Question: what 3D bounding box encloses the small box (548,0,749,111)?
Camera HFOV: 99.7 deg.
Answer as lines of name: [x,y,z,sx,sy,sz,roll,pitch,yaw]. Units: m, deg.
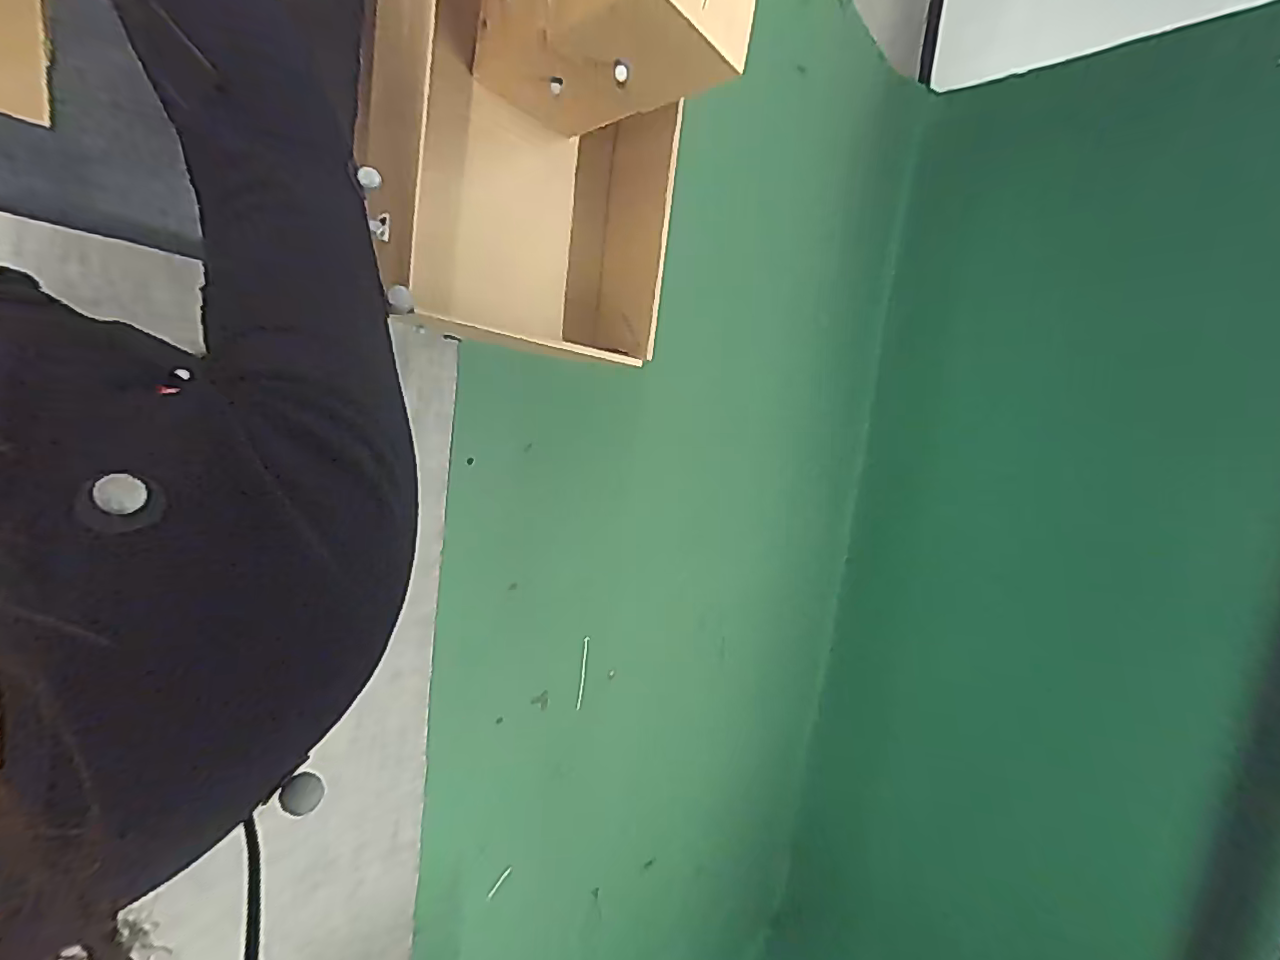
small box: [0.012,-0.575,0.623,0.168,0.176,0.179,2,100,-47]
